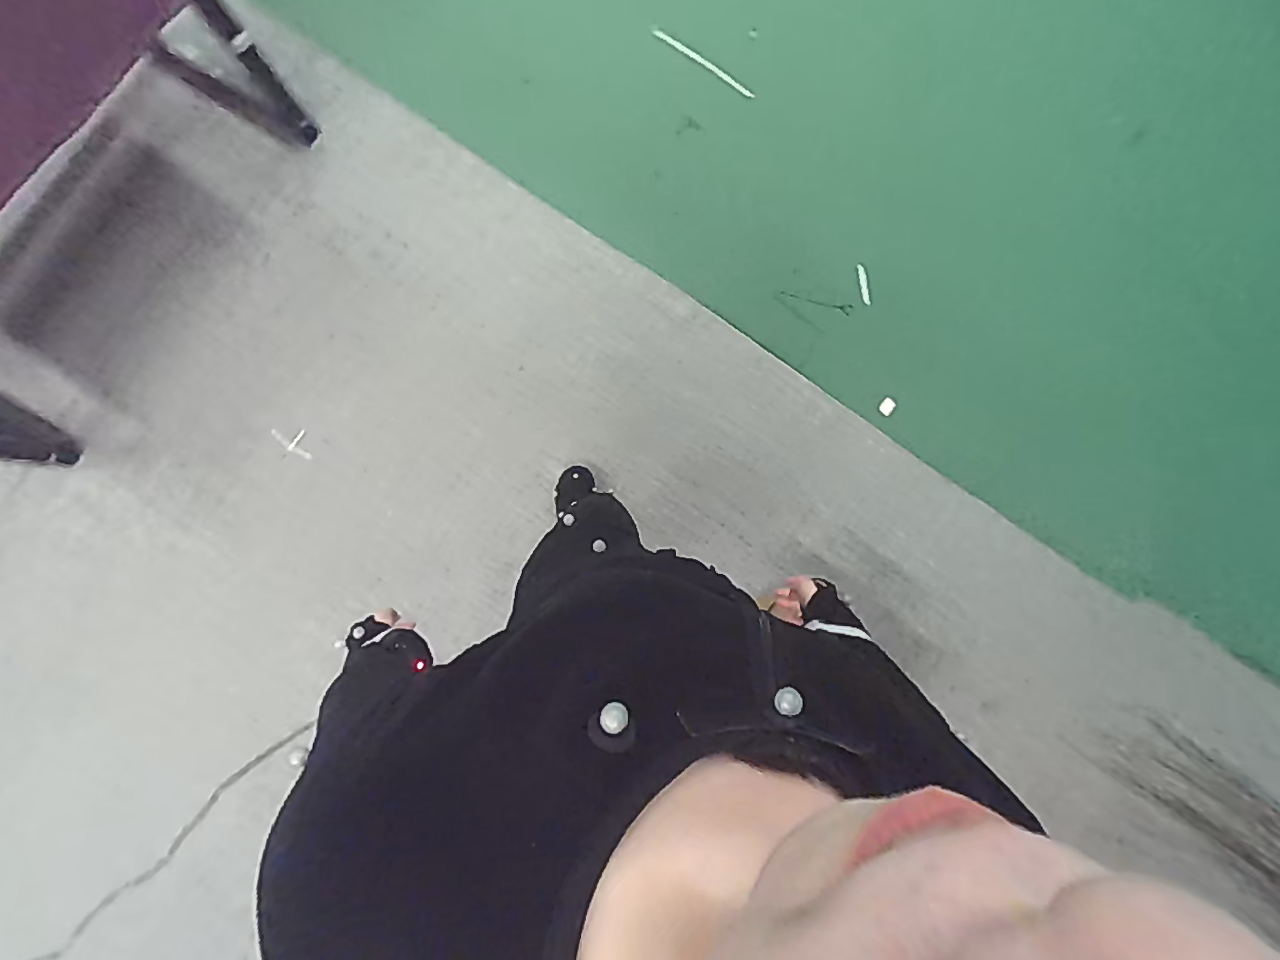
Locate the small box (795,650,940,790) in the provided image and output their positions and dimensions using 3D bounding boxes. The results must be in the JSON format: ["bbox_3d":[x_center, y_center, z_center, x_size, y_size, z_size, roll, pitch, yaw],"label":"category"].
[{"bbox_3d":[0.456,0.476,1.107,0.179,0.176,0.168,42,83,0],"label":"small box"}]

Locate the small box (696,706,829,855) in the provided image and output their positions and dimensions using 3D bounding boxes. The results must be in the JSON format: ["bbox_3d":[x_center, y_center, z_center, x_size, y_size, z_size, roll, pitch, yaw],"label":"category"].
[{"bbox_3d":[0.233,0.585,1.086,0.179,0.176,0.168,42,86,0],"label":"small box"}]
